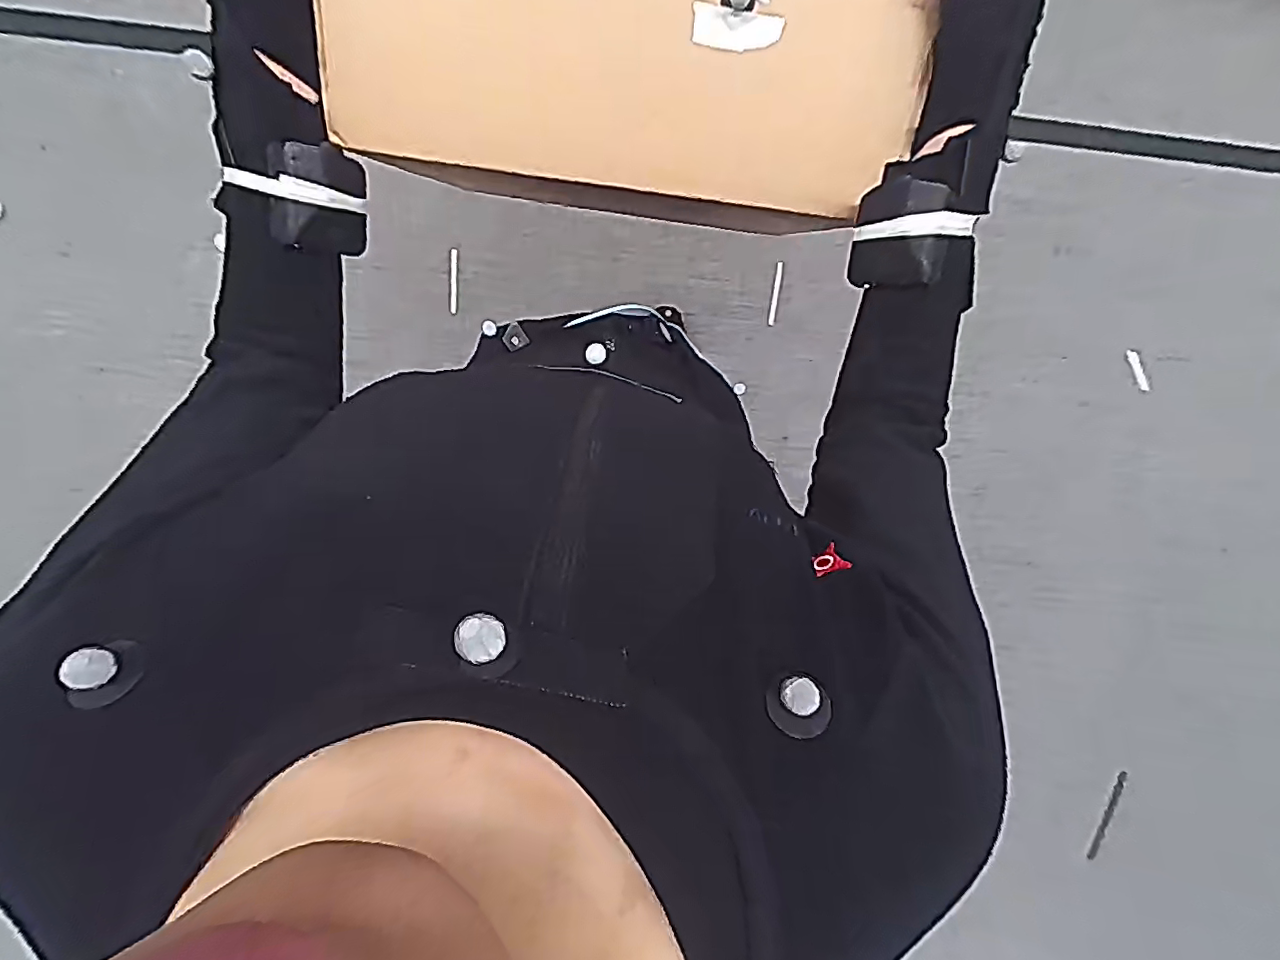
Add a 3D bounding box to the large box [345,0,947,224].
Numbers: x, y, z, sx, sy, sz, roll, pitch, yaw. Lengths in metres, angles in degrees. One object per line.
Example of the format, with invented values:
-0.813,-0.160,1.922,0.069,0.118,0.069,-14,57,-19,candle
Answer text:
0.007,-0.421,0.474,0.408,0.320,0.320,6,114,-4,large box
